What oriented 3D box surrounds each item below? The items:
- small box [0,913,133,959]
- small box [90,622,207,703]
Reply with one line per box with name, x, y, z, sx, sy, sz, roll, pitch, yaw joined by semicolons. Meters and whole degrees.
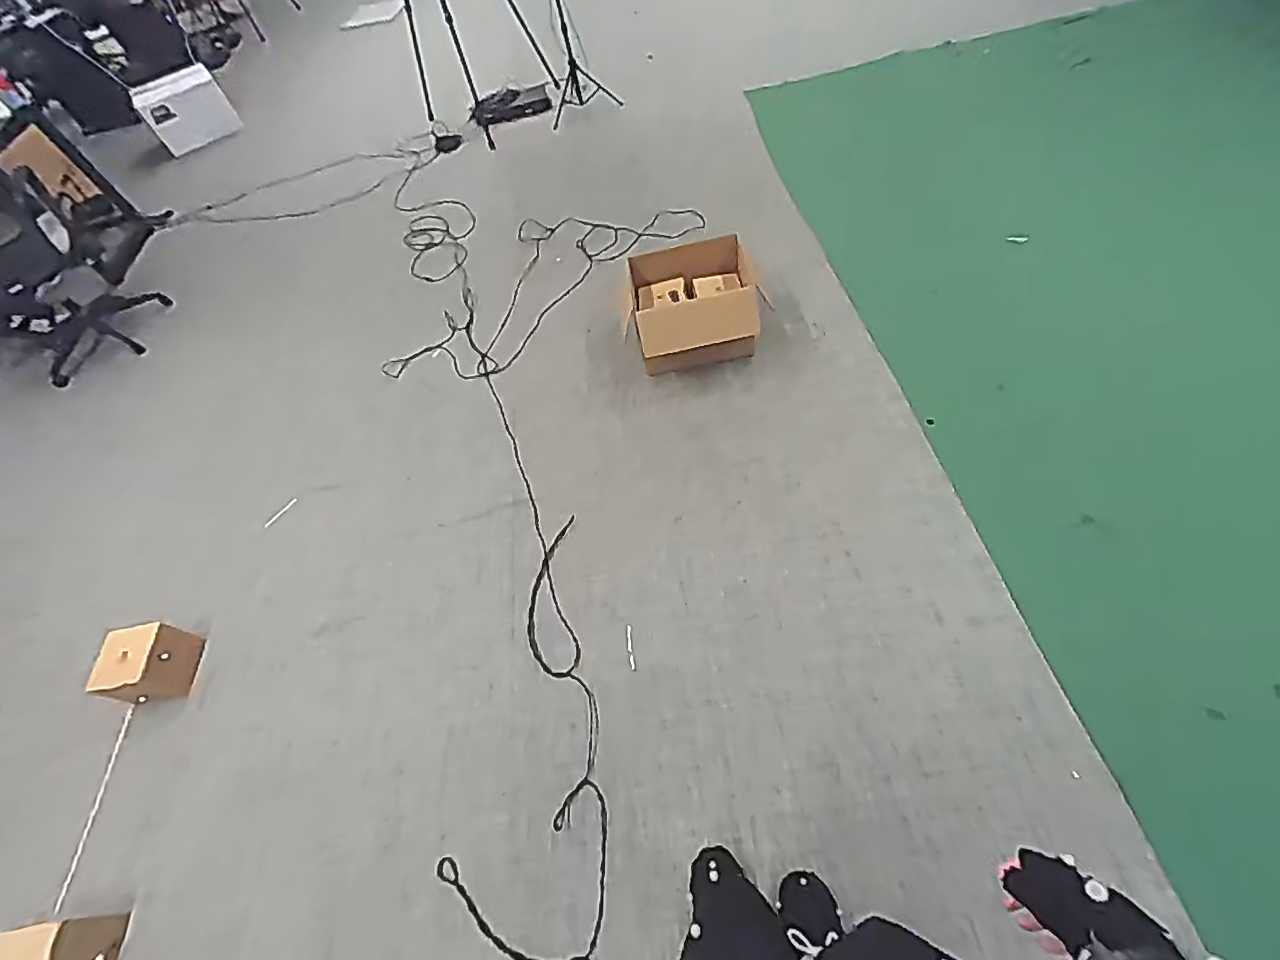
small box;-1.320;1.098;1.215;0.179;0.176;0.168;-13;56;3
small box;-1.437;0.542;1.598;0.168;0.176;0.179;-12;57;3
